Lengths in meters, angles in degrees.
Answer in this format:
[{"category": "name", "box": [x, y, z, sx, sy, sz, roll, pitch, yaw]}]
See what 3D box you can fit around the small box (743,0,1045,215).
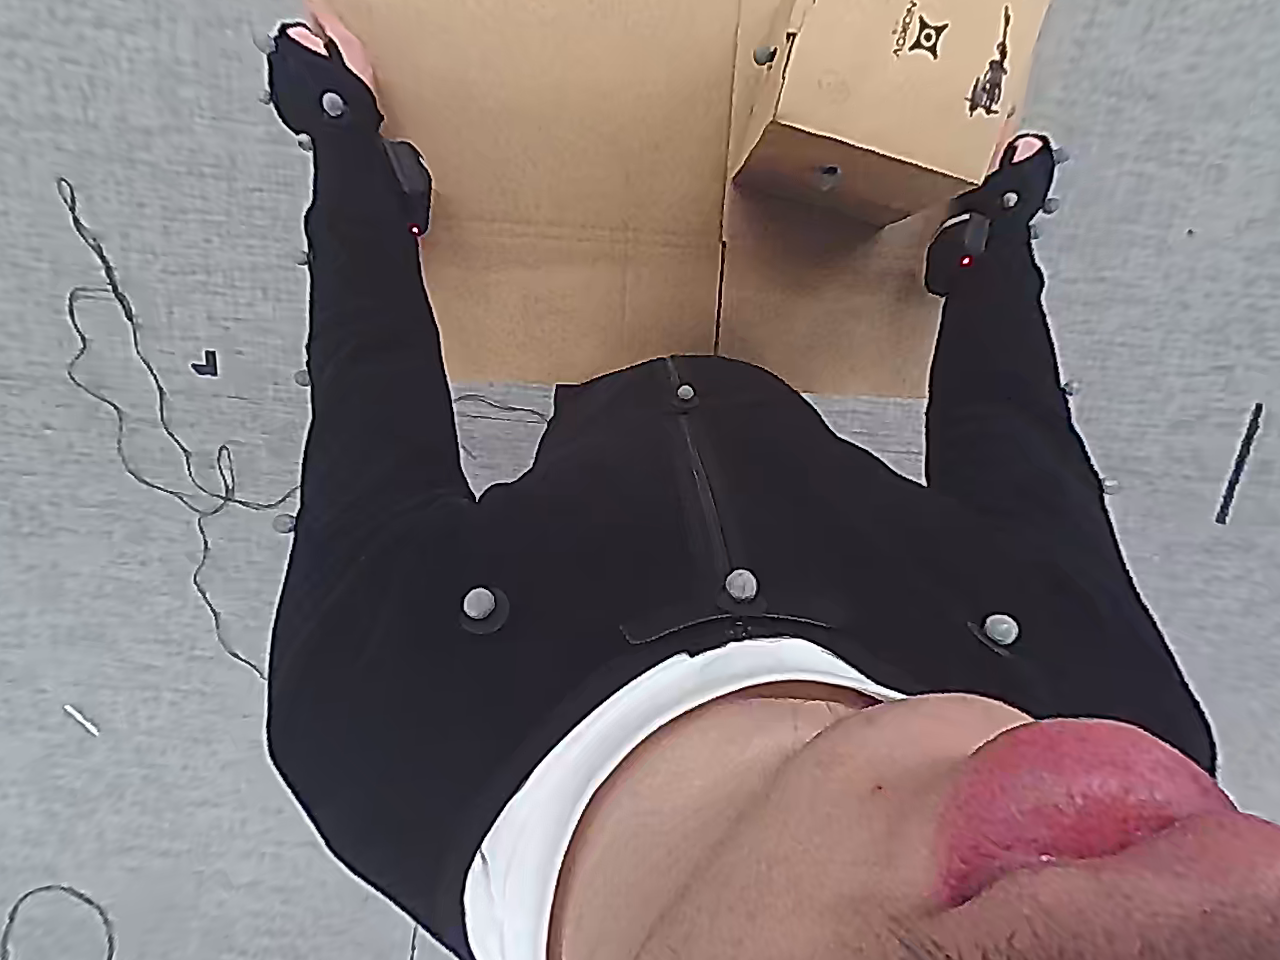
[{"category": "small box", "box": [0.204, -0.355, 0.479, 0.179, 0.176, 0.168, 14, 104, -3]}]
